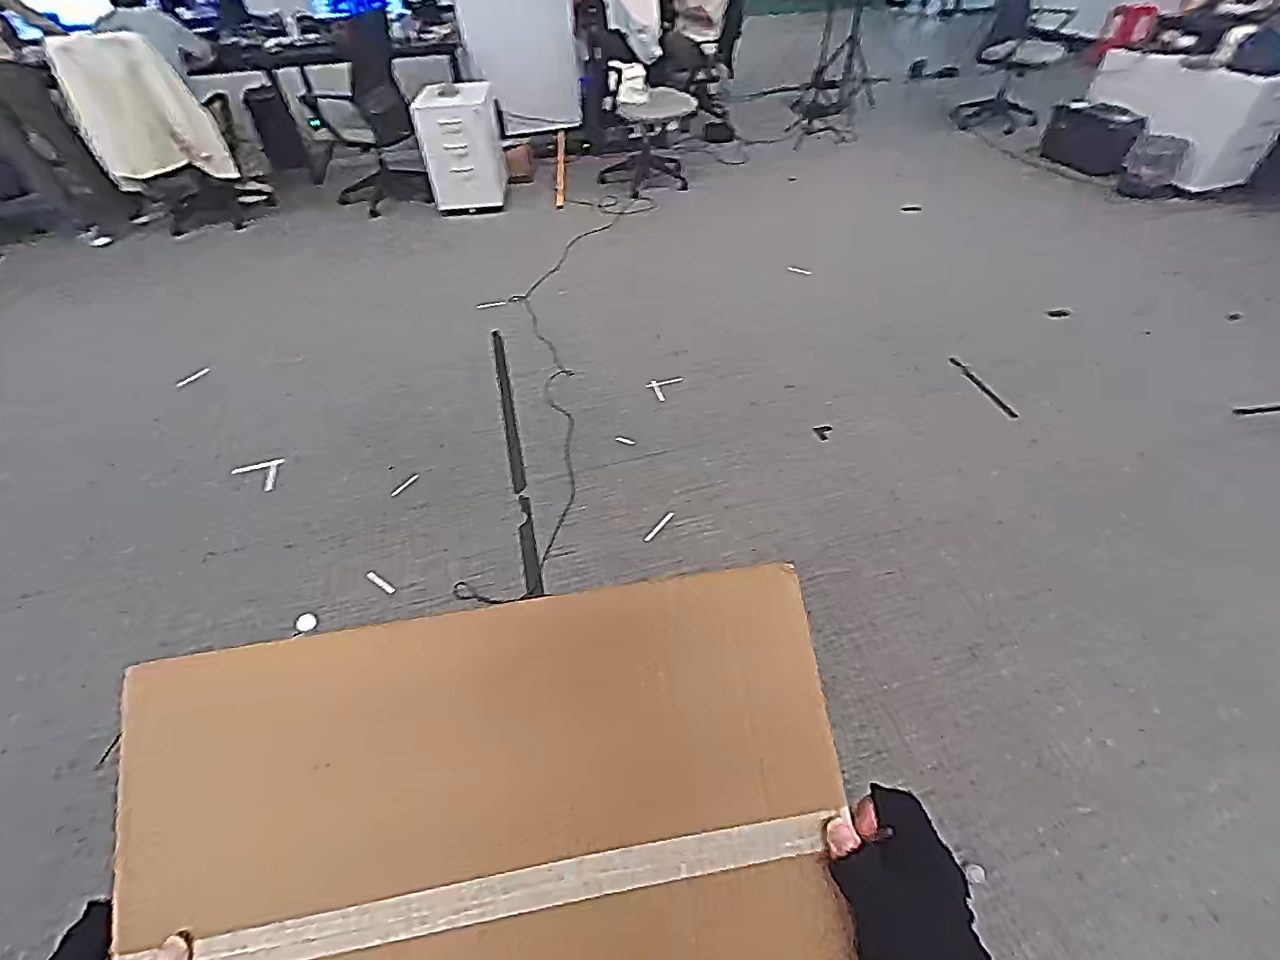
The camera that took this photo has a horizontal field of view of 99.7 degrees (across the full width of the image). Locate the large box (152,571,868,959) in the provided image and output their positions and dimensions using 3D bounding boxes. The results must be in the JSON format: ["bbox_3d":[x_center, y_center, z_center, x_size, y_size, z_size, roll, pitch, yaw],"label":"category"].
[{"bbox_3d":[-0.082,0.272,0.457,0.408,0.320,0.320,-8,78,-5],"label":"large box"}]
